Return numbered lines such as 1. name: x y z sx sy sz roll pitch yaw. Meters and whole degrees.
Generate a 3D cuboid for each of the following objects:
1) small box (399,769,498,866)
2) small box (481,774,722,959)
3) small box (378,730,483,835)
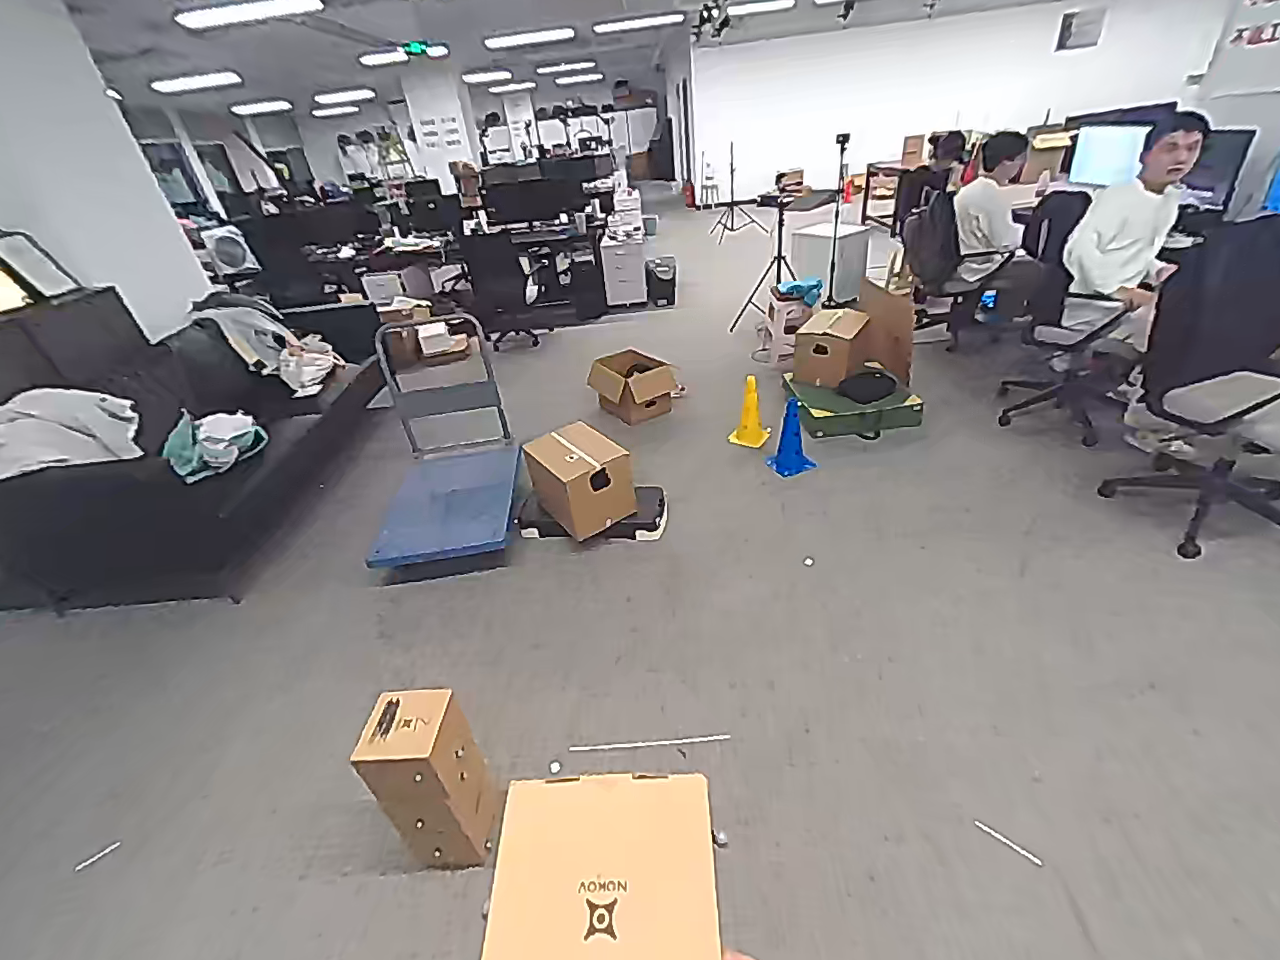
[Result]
1. small box: -0.486 0.877 1.406 0.179 0.176 0.168 -6 33 5
2. small box: -0.019 0.361 0.436 0.168 0.176 0.179 -4 43 3
3. small box: -0.498 0.739 1.317 0.168 0.176 0.179 -4 33 4
